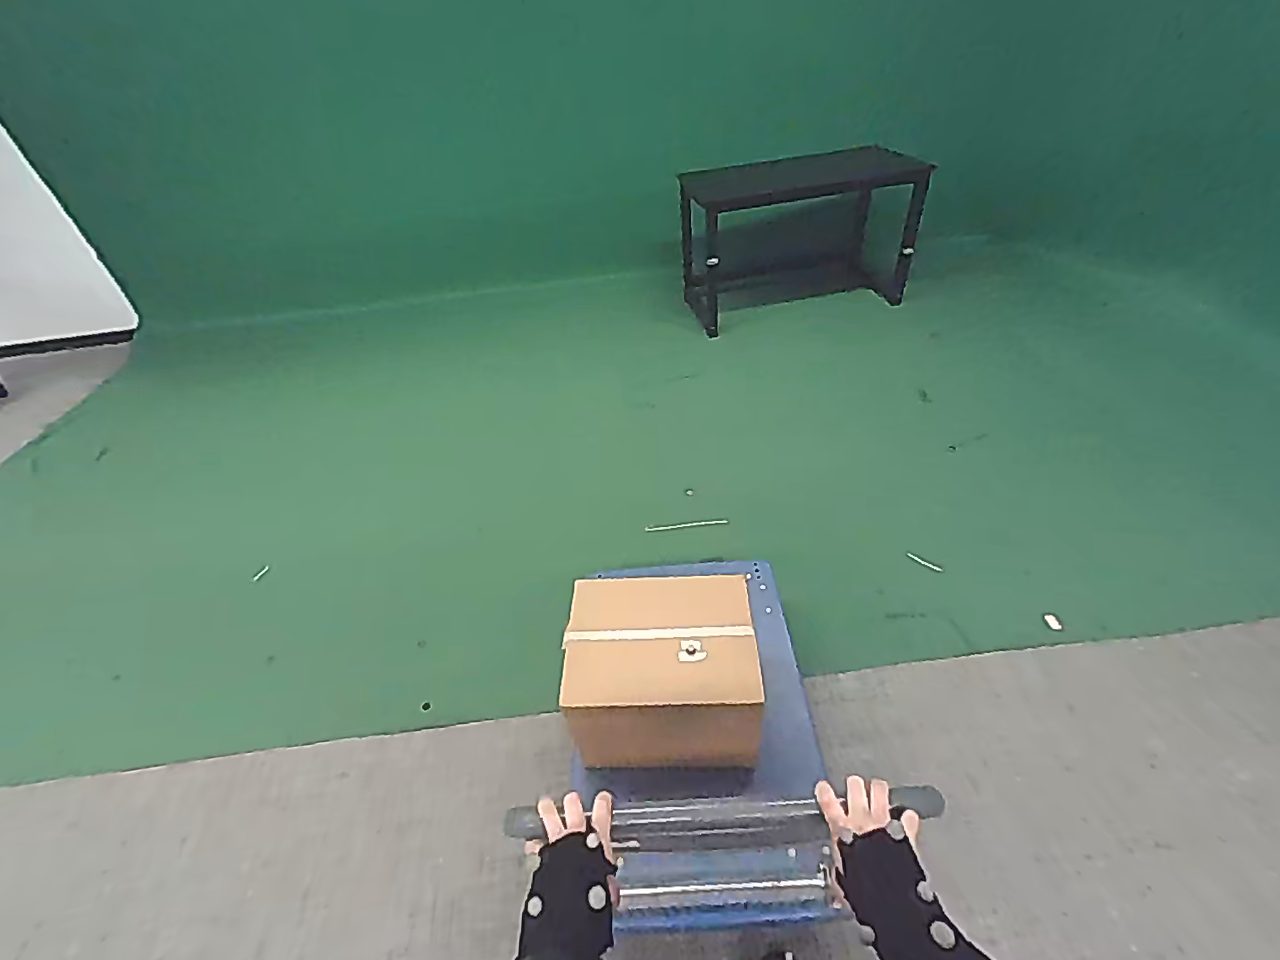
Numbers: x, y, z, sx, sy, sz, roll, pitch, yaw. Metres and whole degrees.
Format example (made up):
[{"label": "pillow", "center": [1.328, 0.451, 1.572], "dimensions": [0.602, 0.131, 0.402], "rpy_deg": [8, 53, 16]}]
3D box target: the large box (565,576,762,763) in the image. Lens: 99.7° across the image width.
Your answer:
[{"label": "large box", "center": [0.054, 0.450, 1.285], "dimensions": [0.408, 0.320, 0.320], "rpy_deg": [-2, 42, 3]}]
